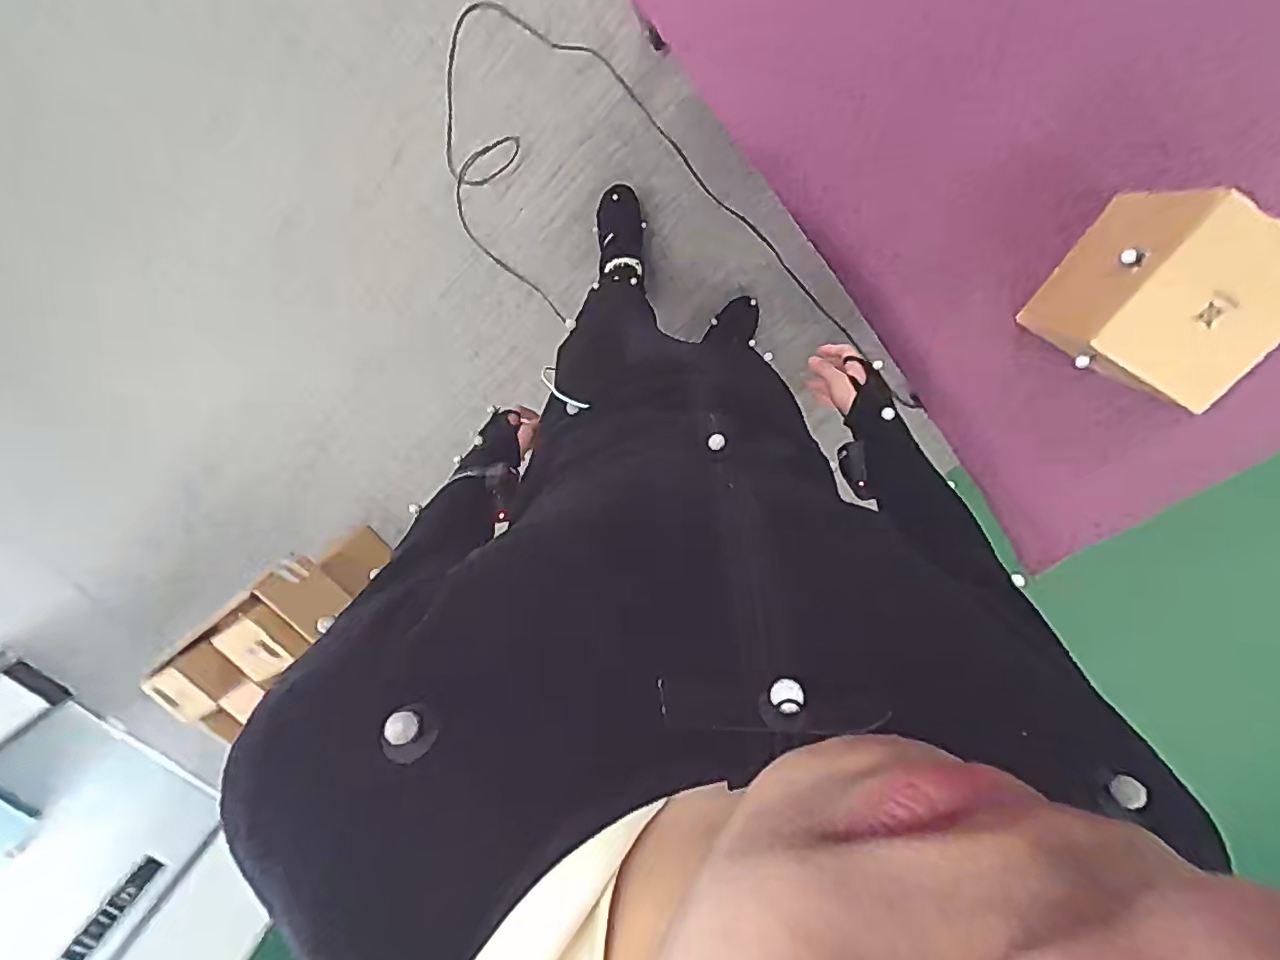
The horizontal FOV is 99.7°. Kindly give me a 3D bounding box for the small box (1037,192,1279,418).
[{"bbox_3d":[0.619,-0.207,0.636,0.168,0.176,0.179,28,116,-5],"label":"small box"}]

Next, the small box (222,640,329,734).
[{"bbox_3d":[-1.069,0.610,1.607,0.179,0.176,0.168,-31,106,19],"label":"small box"}]
